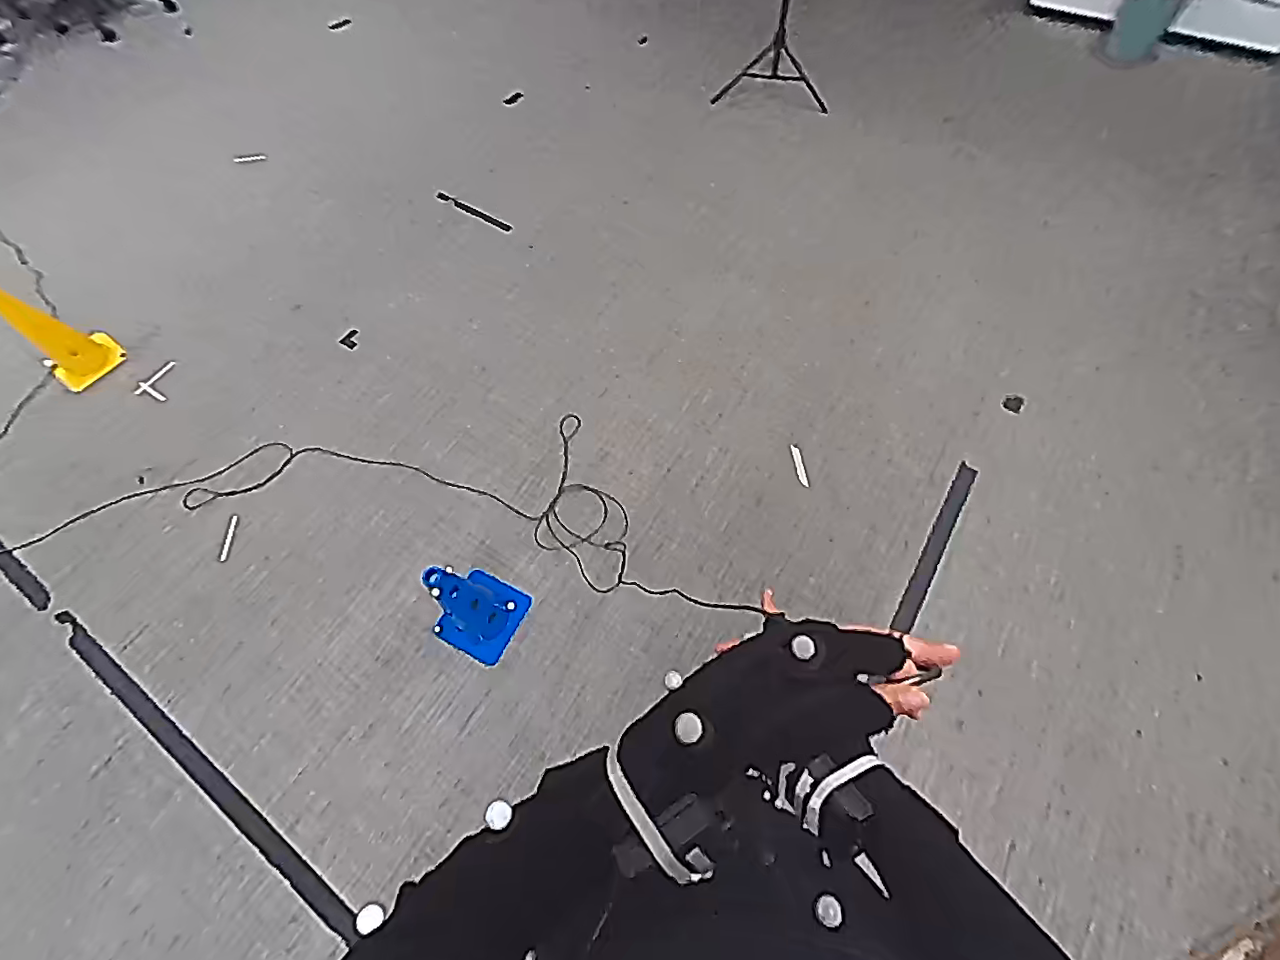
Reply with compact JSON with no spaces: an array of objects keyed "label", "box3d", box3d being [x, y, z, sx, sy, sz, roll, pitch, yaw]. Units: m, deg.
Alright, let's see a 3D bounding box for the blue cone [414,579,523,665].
[{"label":"blue cone","box3d":[-0.427,0.293,1.265,0.193,0.380,0.192,24,68,14]}]
